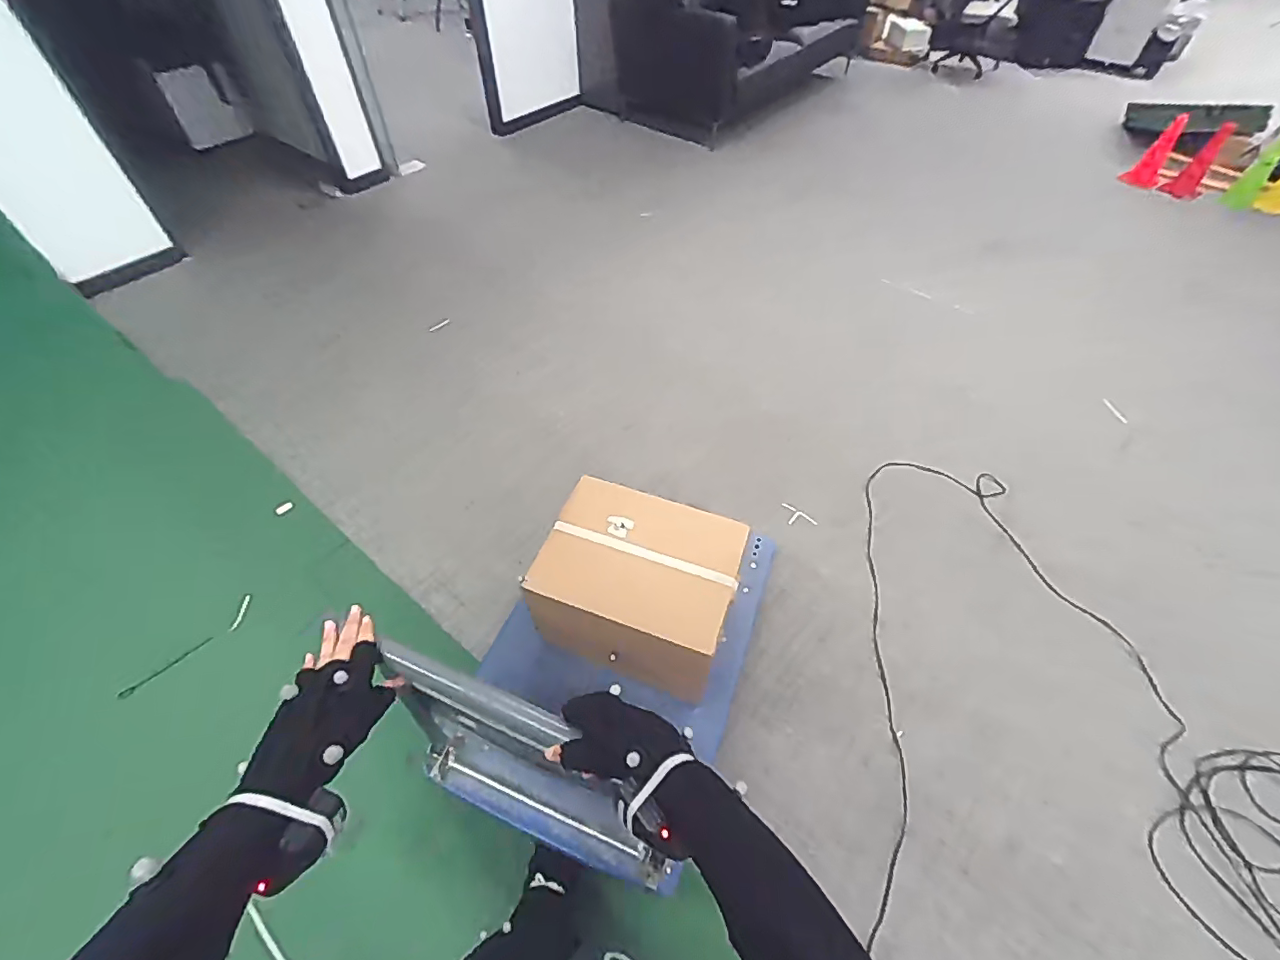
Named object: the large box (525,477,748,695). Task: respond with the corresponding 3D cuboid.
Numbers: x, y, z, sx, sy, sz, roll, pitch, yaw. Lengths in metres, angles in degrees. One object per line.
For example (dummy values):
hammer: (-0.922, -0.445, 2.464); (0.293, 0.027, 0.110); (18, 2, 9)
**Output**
large box: (0.004, 0.247, 1.256); (0.408, 0.320, 0.320); (16, 53, 13)
